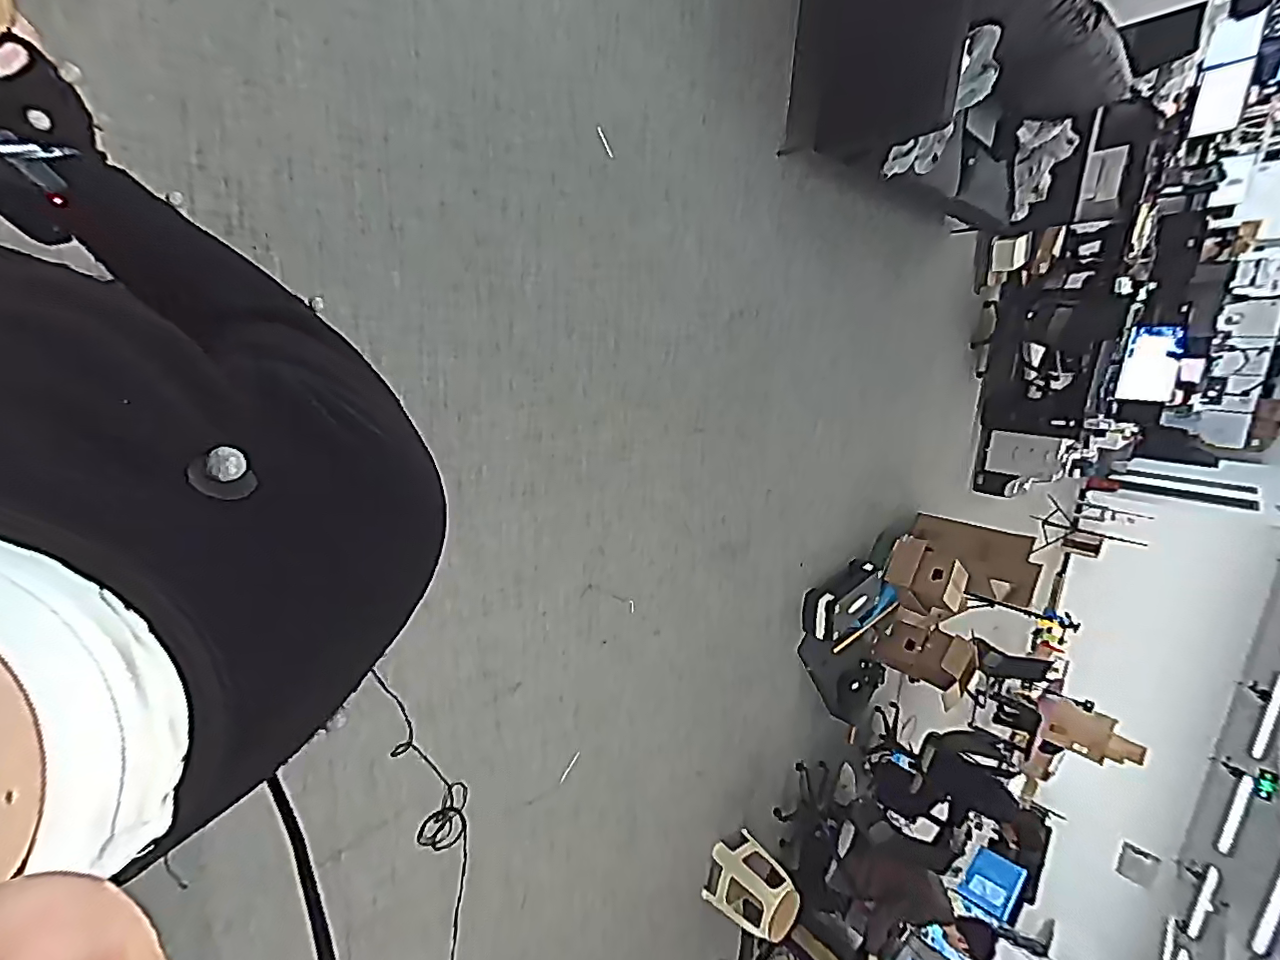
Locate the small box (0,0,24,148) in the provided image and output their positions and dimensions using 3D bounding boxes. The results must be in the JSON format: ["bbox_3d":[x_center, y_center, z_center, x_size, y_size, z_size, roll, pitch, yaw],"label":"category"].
[{"bbox_3d":[-0.639,-0.392,0.433,0.179,0.176,0.168,-12,105,-44],"label":"small box"}]
